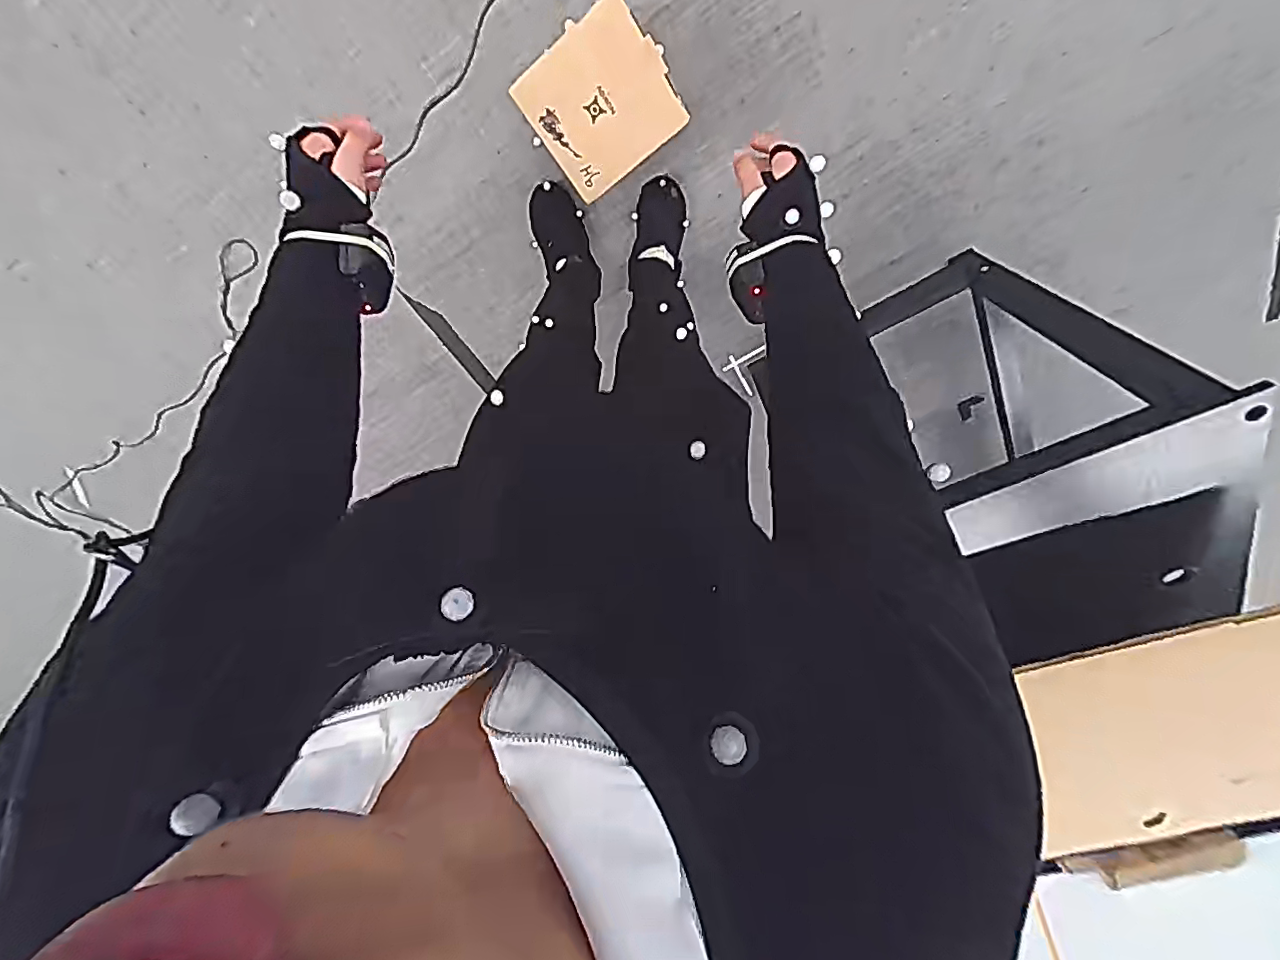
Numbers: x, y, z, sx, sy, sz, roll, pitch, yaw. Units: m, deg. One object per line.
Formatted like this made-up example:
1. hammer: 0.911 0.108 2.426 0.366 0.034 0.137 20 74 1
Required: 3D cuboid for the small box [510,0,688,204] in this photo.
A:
1. small box: -0.055 -0.529 0.761 0.179 0.176 0.168 -31 121 18
